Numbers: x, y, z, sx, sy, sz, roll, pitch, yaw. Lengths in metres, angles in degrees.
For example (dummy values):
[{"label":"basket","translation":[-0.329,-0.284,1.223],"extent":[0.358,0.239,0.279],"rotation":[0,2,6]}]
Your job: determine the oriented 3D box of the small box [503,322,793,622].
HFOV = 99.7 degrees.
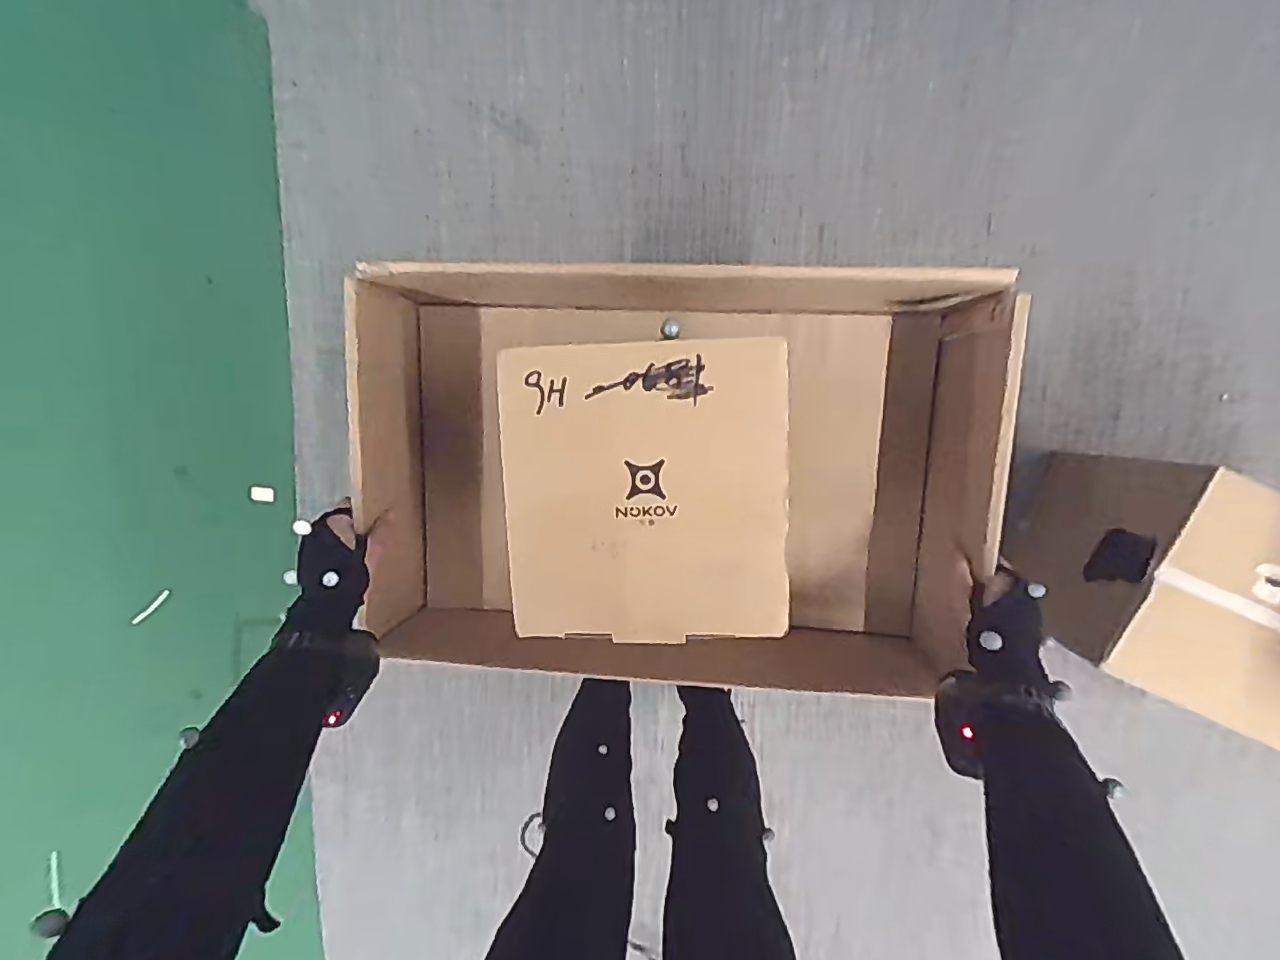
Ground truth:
[{"label":"small box","translation":[0.011,-0.013,0.392],"extent":[0.168,0.176,0.179],"rotation":[-1,98,4]}]
